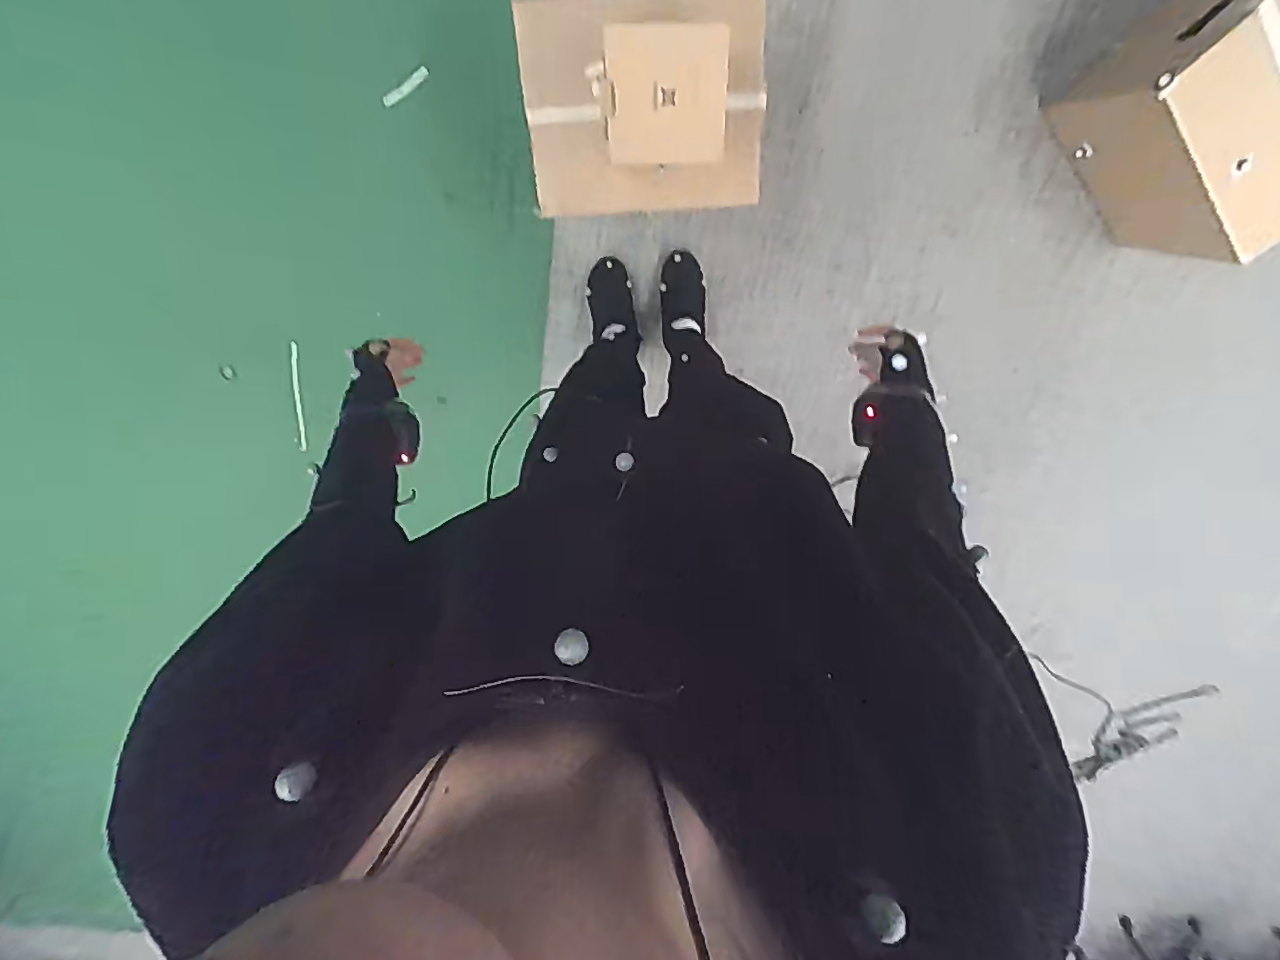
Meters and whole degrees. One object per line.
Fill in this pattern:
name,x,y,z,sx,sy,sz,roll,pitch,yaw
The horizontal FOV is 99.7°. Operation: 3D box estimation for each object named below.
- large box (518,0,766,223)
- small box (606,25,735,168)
large box,0.018,-0.695,1.050,0.408,0.320,0.320,-3,117,3
small box,0.042,-0.578,0.833,0.179,0.176,0.168,0,120,1
